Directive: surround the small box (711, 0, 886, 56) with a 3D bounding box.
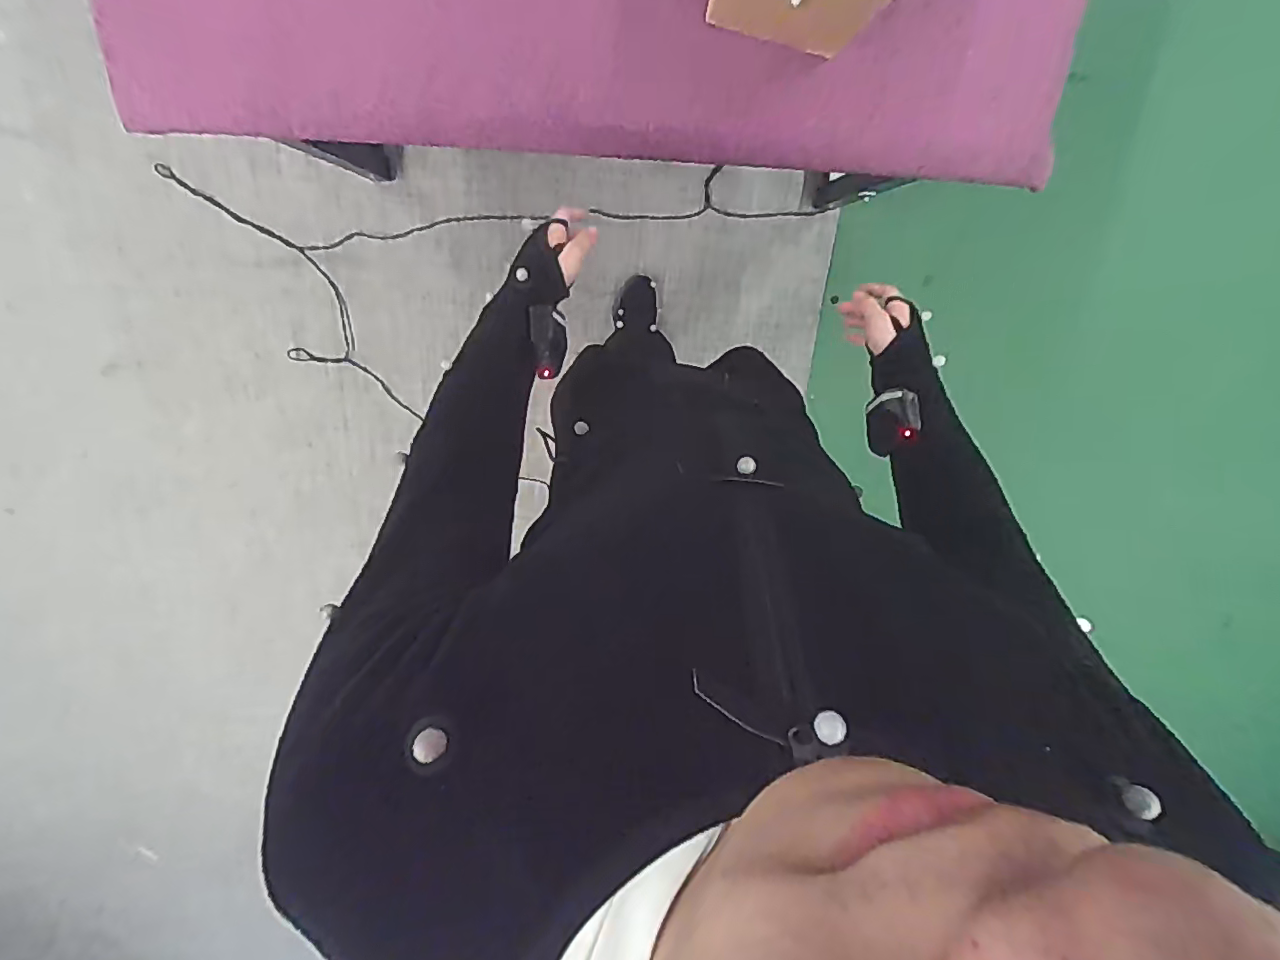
[{"bbox_3d":[0.187,-0.598,0.579,0.179,0.176,0.168,12,109,-7],"label":"small box"}]
